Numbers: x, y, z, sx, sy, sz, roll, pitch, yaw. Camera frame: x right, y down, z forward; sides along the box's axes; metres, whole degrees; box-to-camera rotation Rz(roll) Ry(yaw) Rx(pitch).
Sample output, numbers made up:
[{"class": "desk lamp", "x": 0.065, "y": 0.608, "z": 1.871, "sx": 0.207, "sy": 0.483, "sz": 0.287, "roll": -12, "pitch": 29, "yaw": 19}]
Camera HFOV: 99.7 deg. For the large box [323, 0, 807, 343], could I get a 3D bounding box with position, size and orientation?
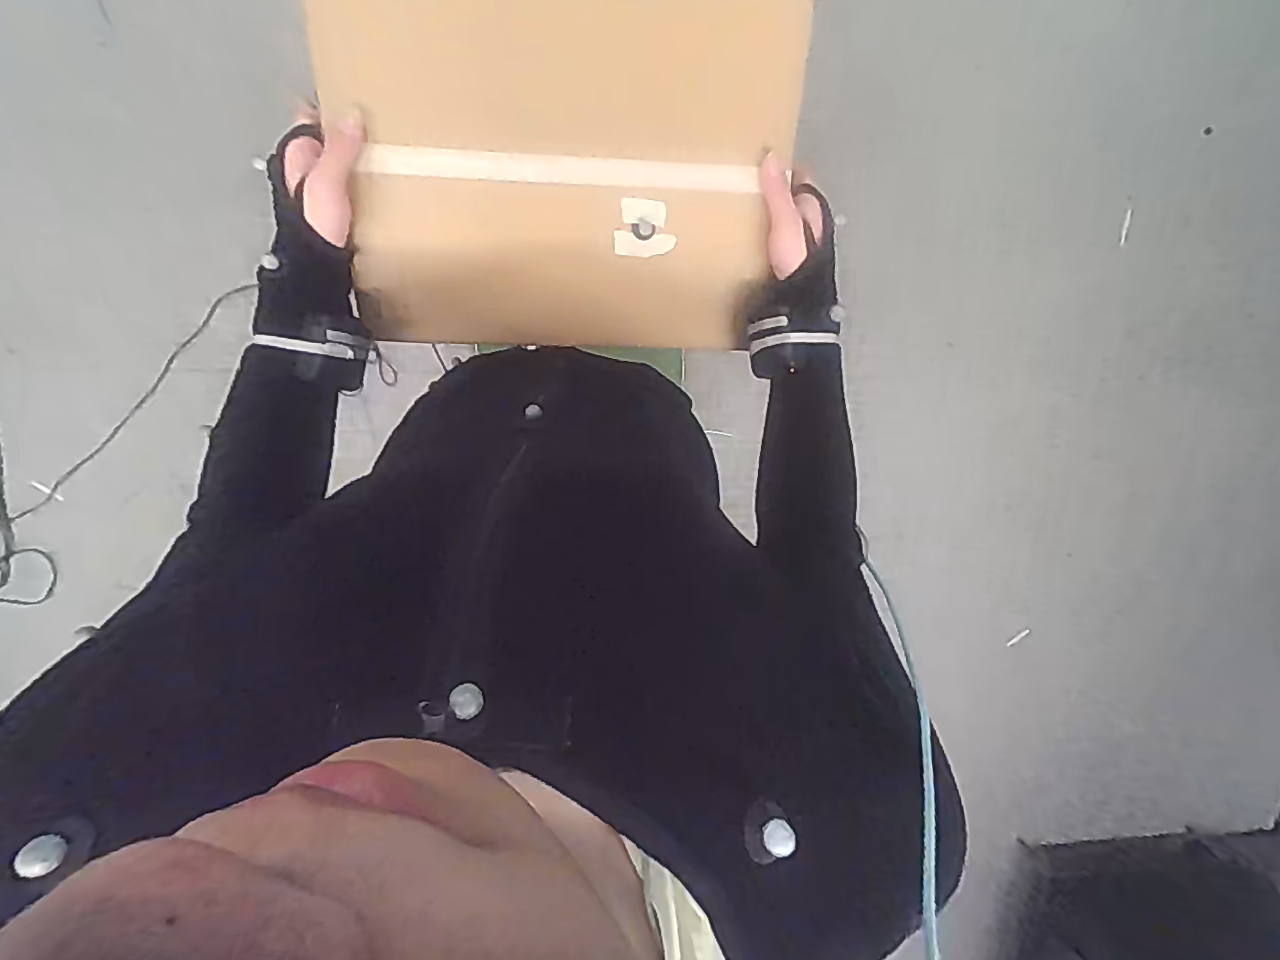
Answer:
[{"class": "large box", "x": -0.077, "y": -0.343, "z": 0.630, "sx": 0.408, "sy": 0.320, "sz": 0.320, "roll": -1, "pitch": 115, "yaw": -7}]
